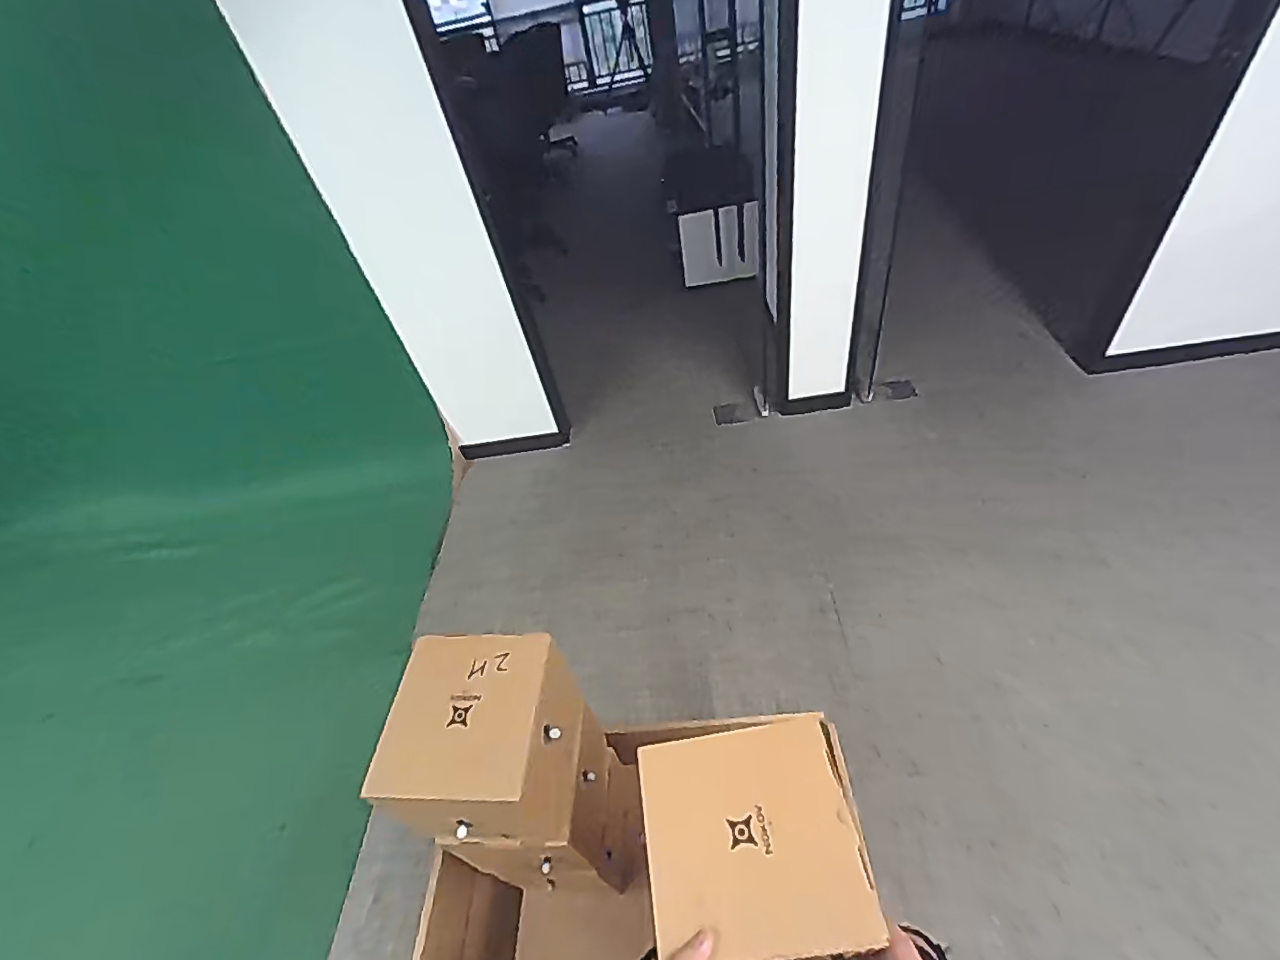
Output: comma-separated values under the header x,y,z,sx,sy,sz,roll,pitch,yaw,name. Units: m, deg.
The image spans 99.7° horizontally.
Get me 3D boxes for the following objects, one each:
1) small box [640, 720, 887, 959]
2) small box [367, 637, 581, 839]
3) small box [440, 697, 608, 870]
x,y,z,sx,sy,sz,roll,pitch,yaw,name
0.106,0.354,0.514,0.179,0.176,0.168,-11,46,2,small box
-0.173,0.302,0.632,0.168,0.176,0.179,-2,46,8,small box
-0.143,0.419,0.744,0.168,0.176,0.179,-4,45,7,small box
